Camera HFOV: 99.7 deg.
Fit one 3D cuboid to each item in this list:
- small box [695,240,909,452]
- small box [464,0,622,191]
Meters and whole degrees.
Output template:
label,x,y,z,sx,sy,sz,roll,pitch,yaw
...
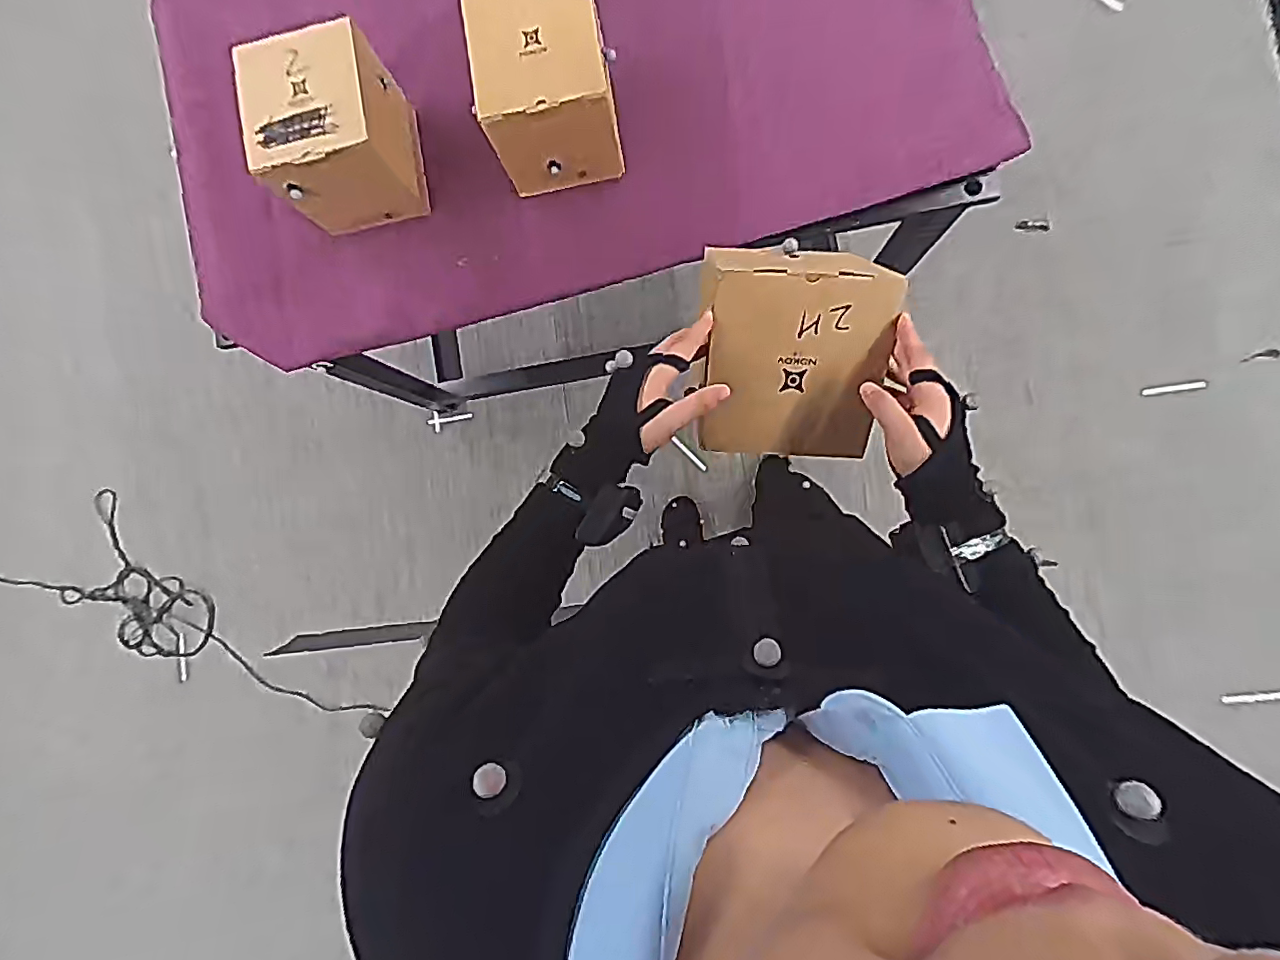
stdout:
label,x,y,z,sx,sy,sz,roll,pitch,yaw
small box,0.148,-0.147,0.569,0.168,0.176,0.179,3,118,1
small box,-0.123,-0.539,0.744,0.168,0.176,0.179,-9,87,5
